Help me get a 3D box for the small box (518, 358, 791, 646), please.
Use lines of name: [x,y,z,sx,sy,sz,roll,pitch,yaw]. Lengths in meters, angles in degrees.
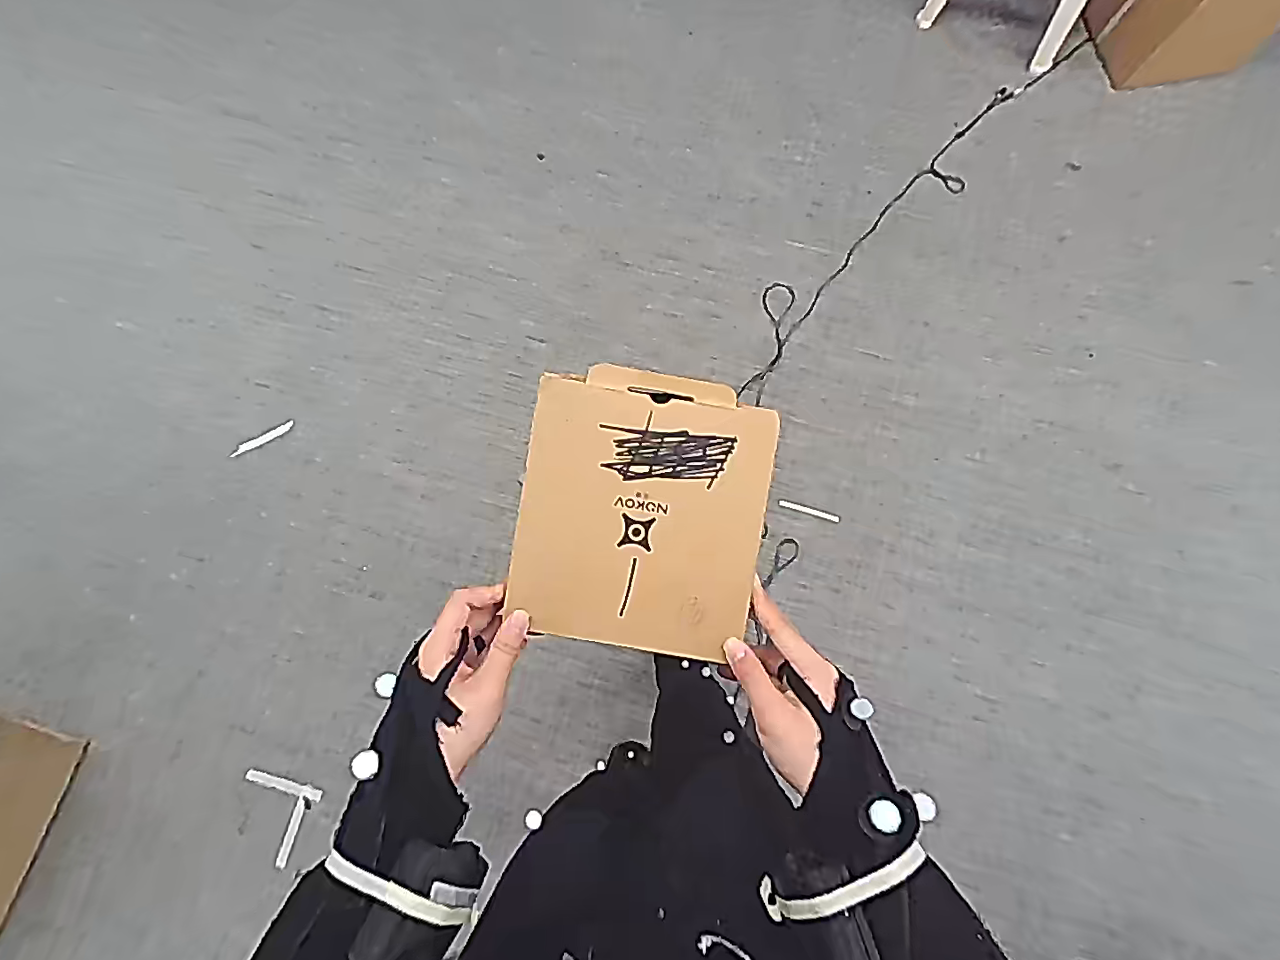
small box: [0.010,0.015,0.447,0.168,0.176,0.179,9,90,0]
